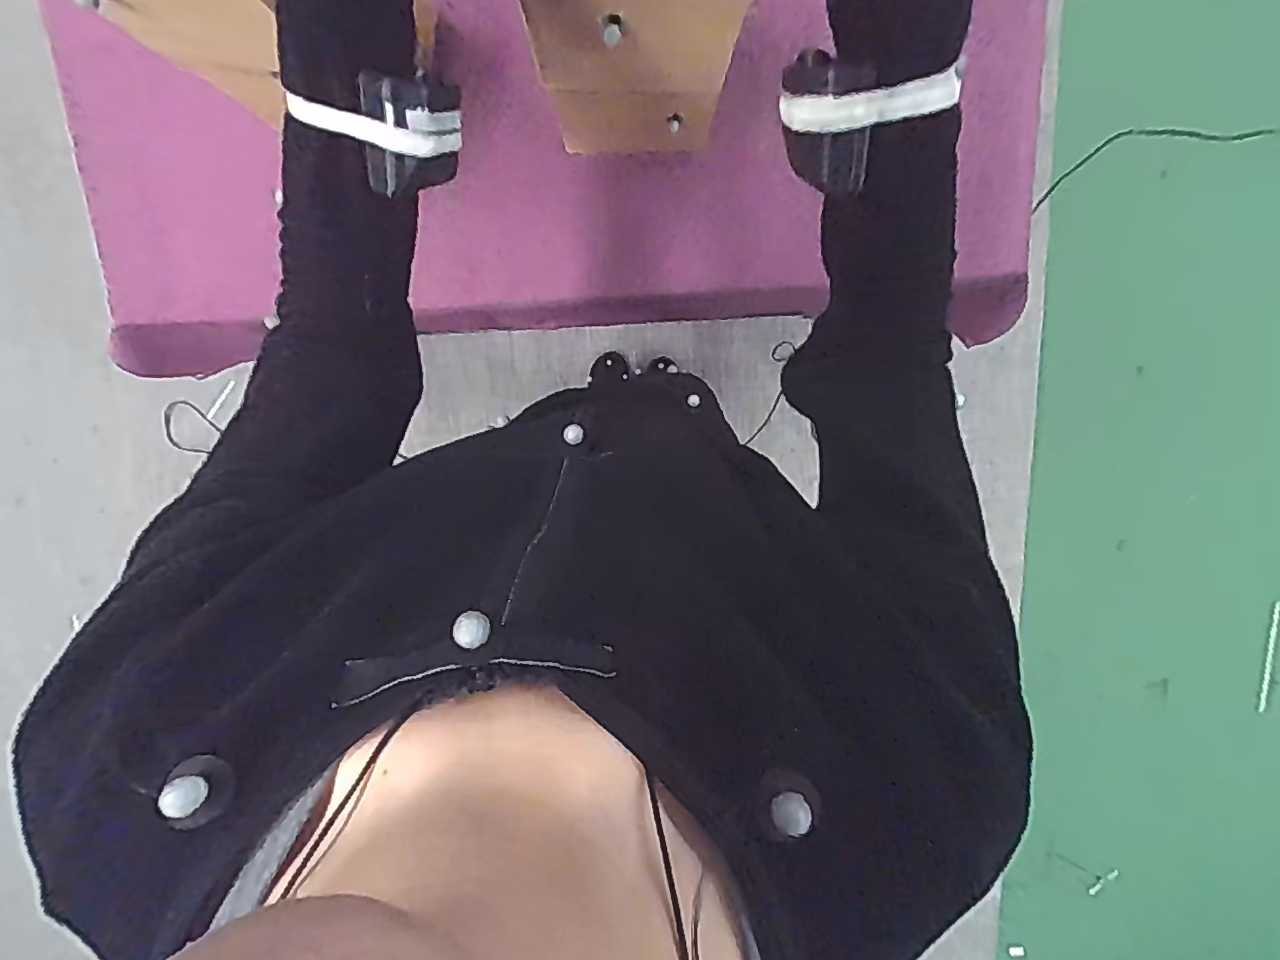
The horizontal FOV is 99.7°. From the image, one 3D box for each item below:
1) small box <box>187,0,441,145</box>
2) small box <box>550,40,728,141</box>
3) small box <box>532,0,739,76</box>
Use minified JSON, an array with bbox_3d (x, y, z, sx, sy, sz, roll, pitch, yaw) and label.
[{"bbox_3d":[-0.337,-0.494,0.586,0.179,0.176,0.168,8,100,-3],"label":"small box"},{"bbox_3d":[-0.003,-0.496,0.592,0.179,0.176,0.168,-1,100,-1],"label":"small box"},{"bbox_3d":[-0.003,-0.458,0.432,0.179,0.176,0.168,1,100,-1],"label":"small box"}]
